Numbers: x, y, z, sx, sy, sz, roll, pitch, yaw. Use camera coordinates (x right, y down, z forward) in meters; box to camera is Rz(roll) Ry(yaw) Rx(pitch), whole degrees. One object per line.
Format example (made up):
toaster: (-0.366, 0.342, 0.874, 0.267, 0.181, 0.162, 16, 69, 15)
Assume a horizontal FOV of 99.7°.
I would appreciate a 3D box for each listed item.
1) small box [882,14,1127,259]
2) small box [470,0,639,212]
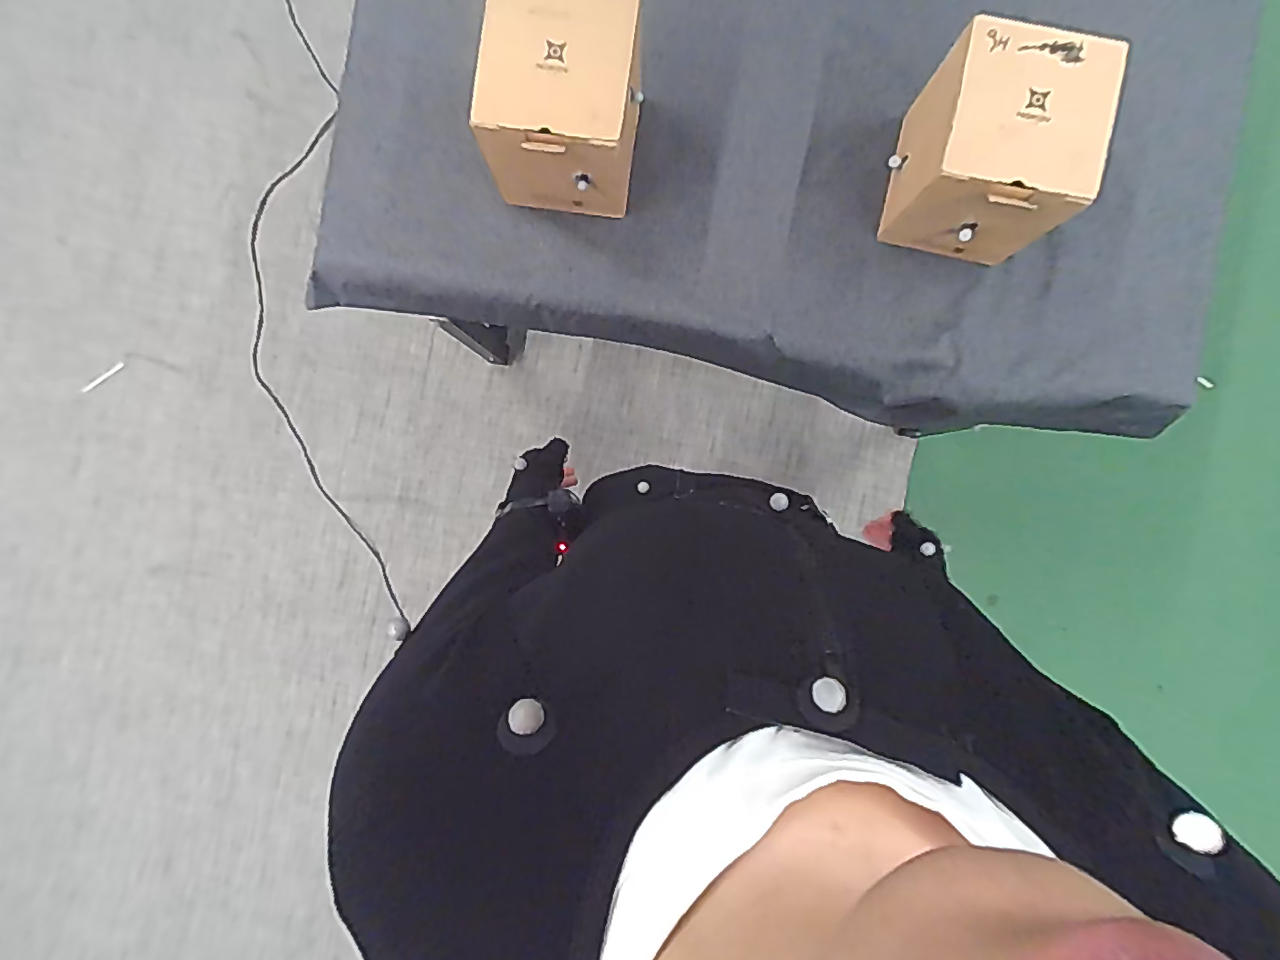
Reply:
small box: (0.416, -0.392, 0.651, 0.168, 0.176, 0.179, 13, 91, 1)
small box: (-0.092, -0.456, 0.658, 0.168, 0.176, 0.179, 7, 89, -1)
